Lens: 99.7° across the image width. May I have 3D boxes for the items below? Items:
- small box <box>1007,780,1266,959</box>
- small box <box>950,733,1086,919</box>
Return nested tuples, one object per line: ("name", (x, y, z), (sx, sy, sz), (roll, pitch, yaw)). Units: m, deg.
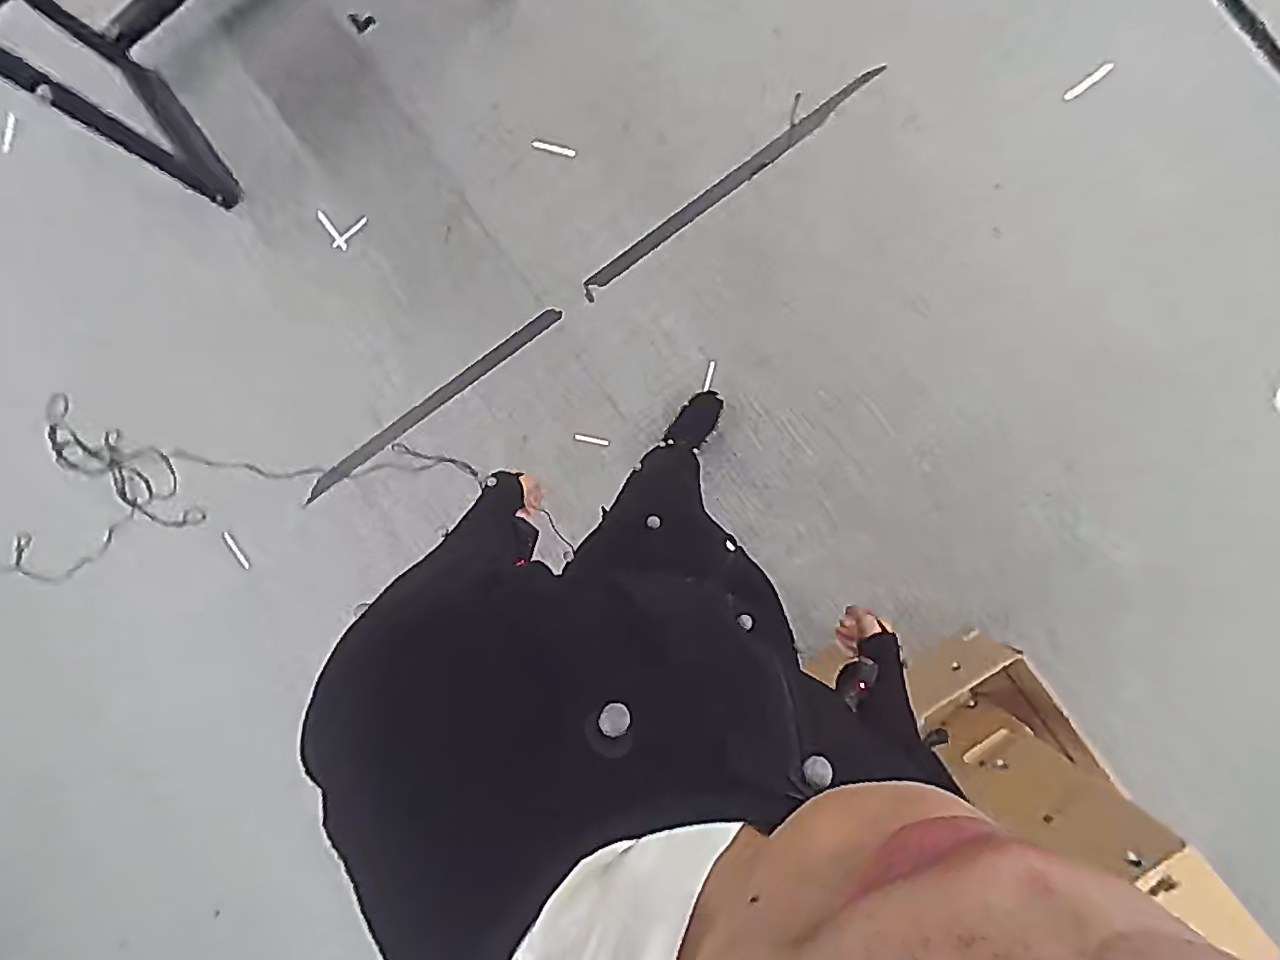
("small box", (0.686, 0.581, 0.772), (0.168, 0.176, 0.179), (-38, 89, 3))
("small box", (0.691, 0.583, 0.936), (0.168, 0.176, 0.179), (-38, 87, 3))
